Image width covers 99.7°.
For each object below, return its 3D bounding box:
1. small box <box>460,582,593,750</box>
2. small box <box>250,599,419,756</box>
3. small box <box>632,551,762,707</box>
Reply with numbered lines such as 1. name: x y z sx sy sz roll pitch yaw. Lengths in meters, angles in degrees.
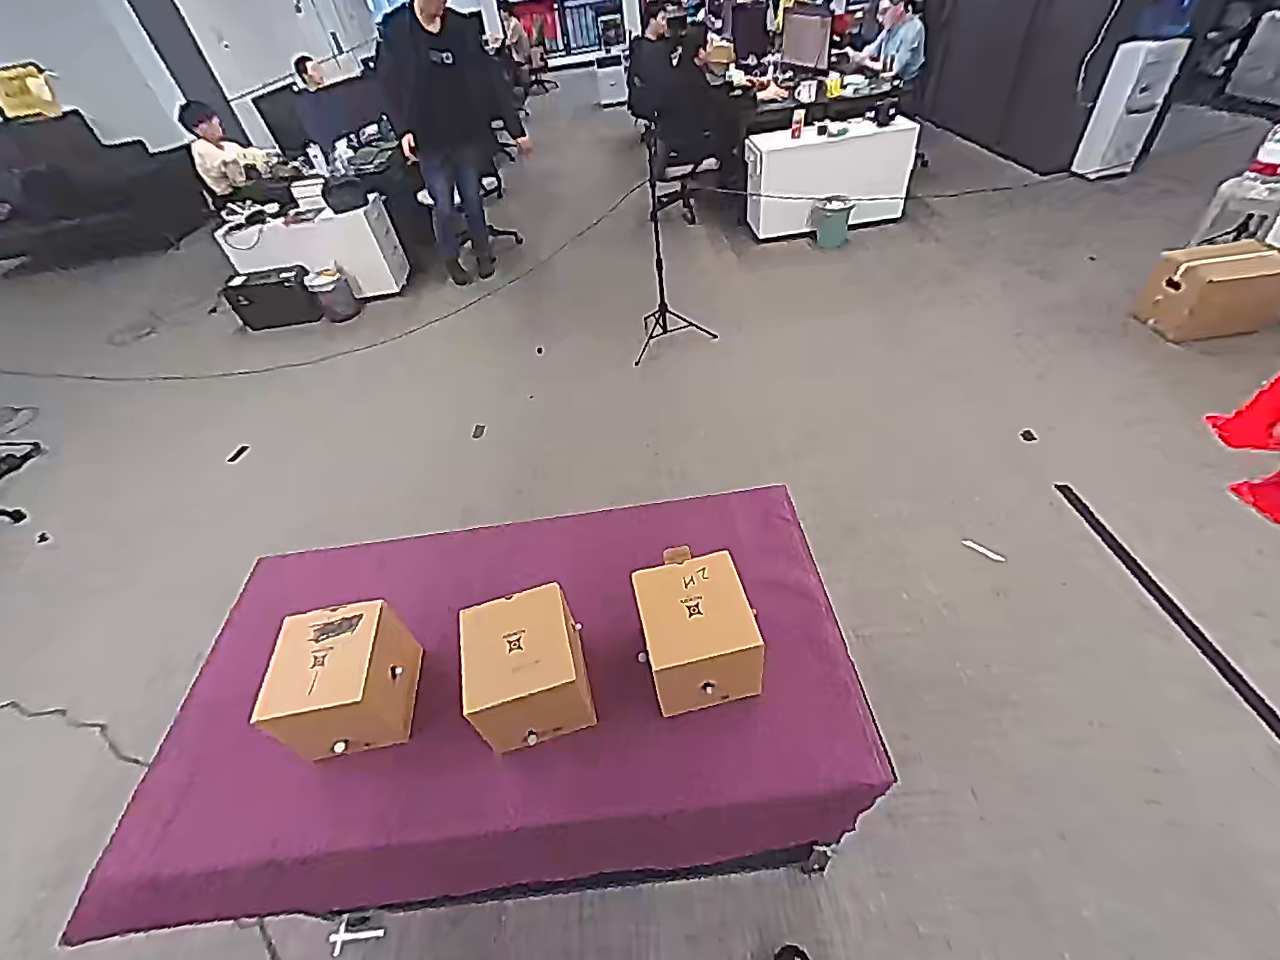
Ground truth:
1. small box: -0.181 0.300 0.871 0.168 0.176 0.179 -16 45 -5
2. small box: -0.484 0.326 0.894 0.168 0.176 0.179 -11 45 -1
3. small box: 0.091 0.247 0.876 0.168 0.176 0.179 -12 44 -3
